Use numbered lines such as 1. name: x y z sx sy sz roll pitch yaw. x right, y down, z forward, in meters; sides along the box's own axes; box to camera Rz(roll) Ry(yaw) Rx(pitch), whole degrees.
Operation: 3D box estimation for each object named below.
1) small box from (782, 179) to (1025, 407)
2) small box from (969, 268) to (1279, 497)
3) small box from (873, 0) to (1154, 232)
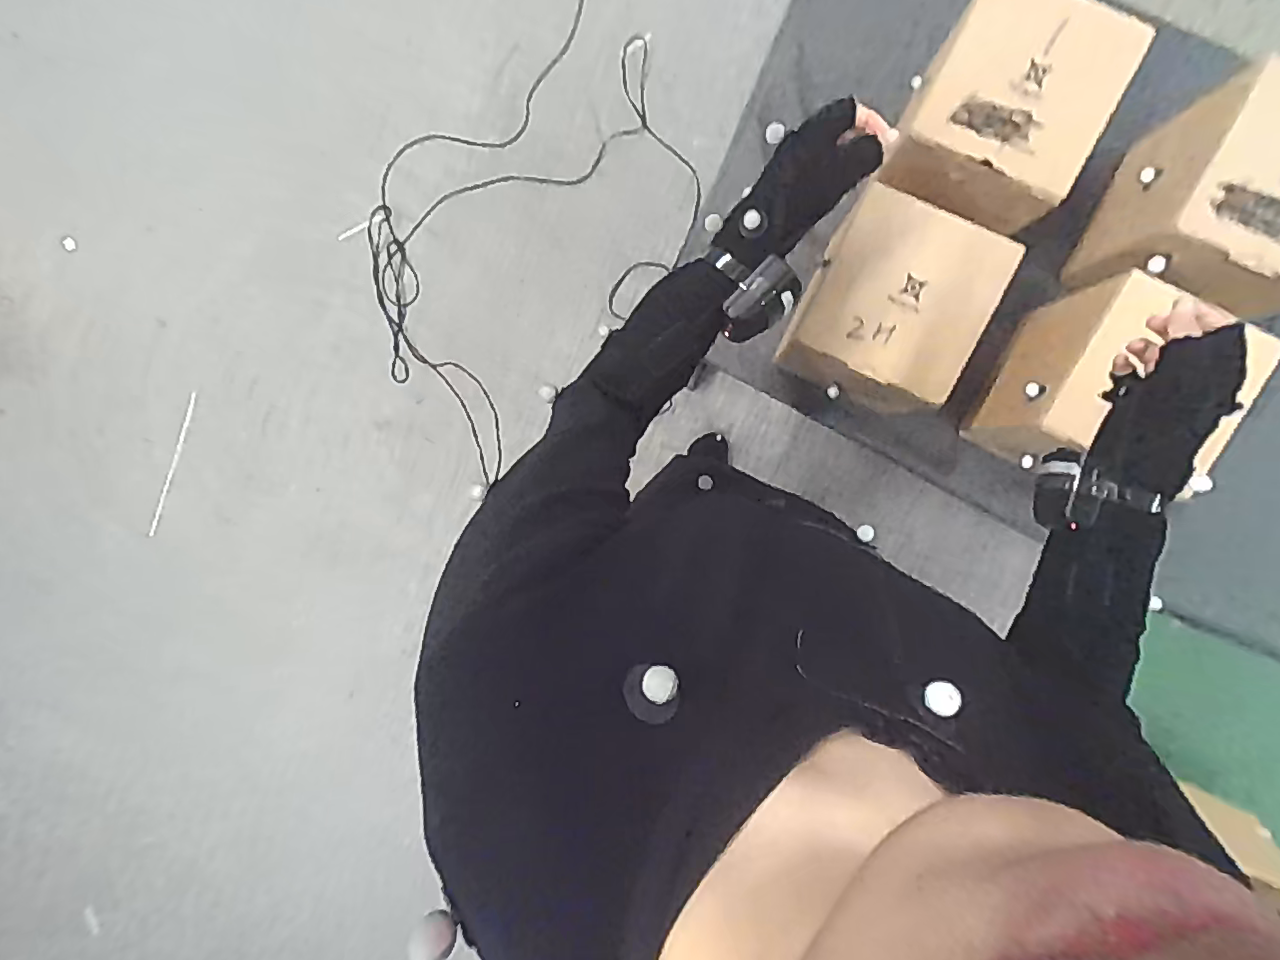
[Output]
1. small box: 0.282 -0.198 0.627 0.168 0.176 0.179 26 97 4
2. small box: 0.522 -0.101 0.614 0.168 0.176 0.179 28 96 3
3. small box: 0.388 -0.394 0.606 0.168 0.176 0.179 27 95 3
